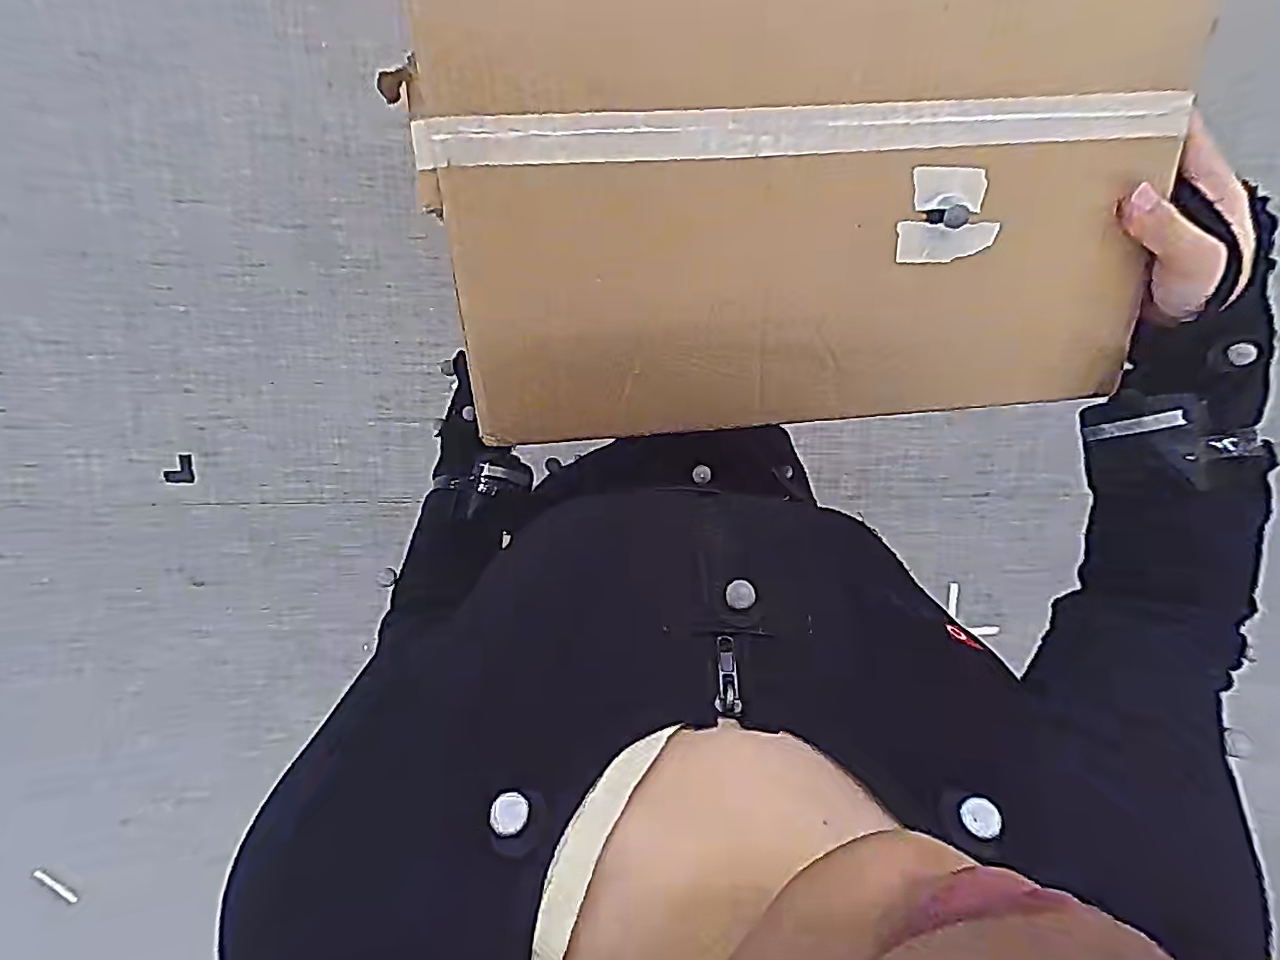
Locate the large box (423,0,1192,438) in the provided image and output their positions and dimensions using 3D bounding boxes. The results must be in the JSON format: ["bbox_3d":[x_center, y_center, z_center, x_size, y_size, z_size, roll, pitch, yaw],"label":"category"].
[{"bbox_3d":[0.079,-0.242,0.428,0.408,0.320,0.320,-6,113,-6],"label":"large box"}]
